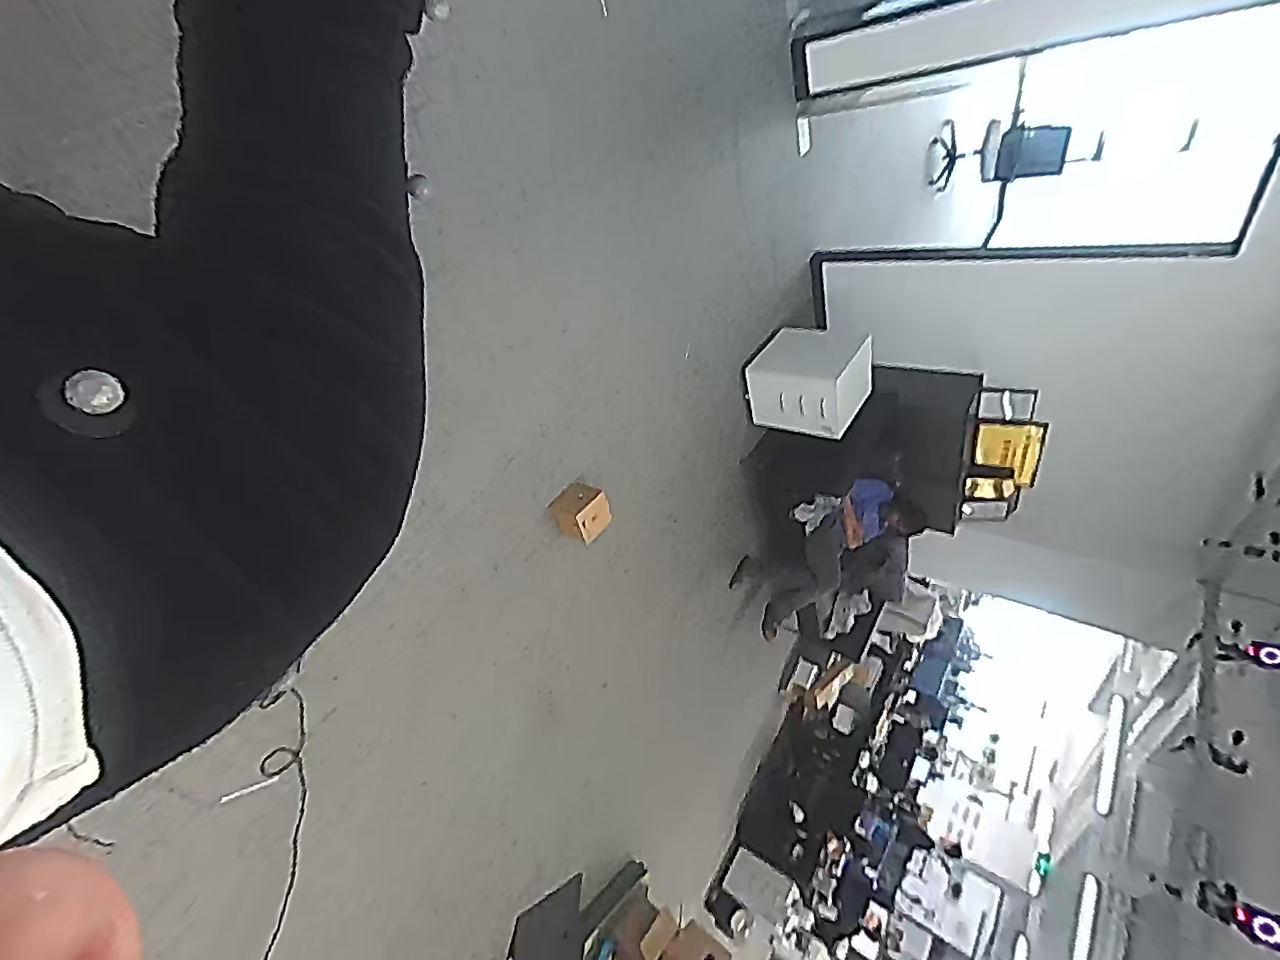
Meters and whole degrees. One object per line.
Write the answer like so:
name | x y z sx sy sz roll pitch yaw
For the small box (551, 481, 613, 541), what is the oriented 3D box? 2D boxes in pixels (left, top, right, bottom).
small box | -0.246 0.125 2.288 0.179 0.176 0.168 -46 136 -34
